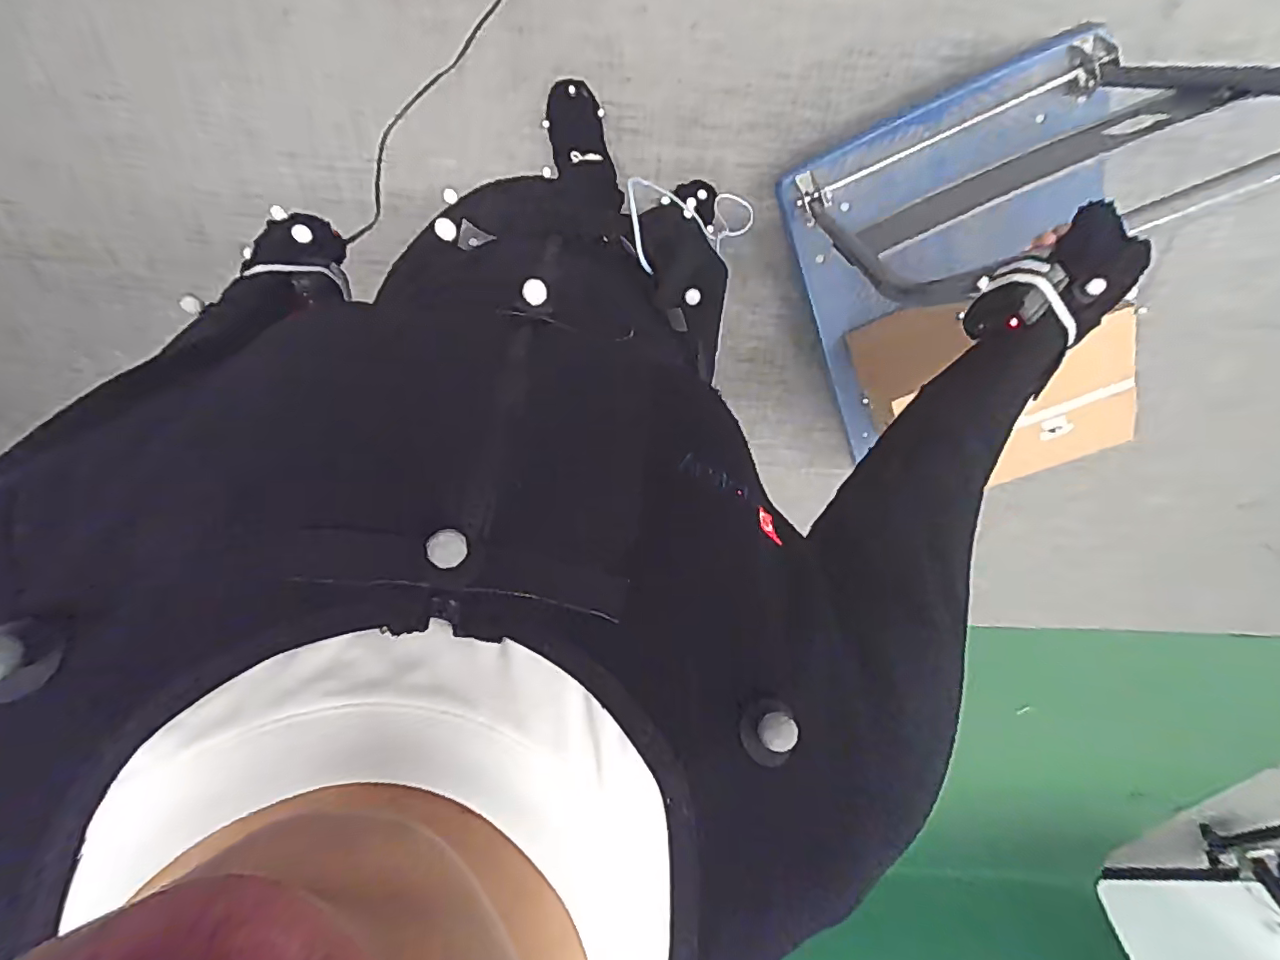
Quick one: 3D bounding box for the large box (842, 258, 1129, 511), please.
[{"bbox_3d":[0.711,-0.203,1.158,0.408,0.320,0.320,-23,126,17],"label":"large box"}]
